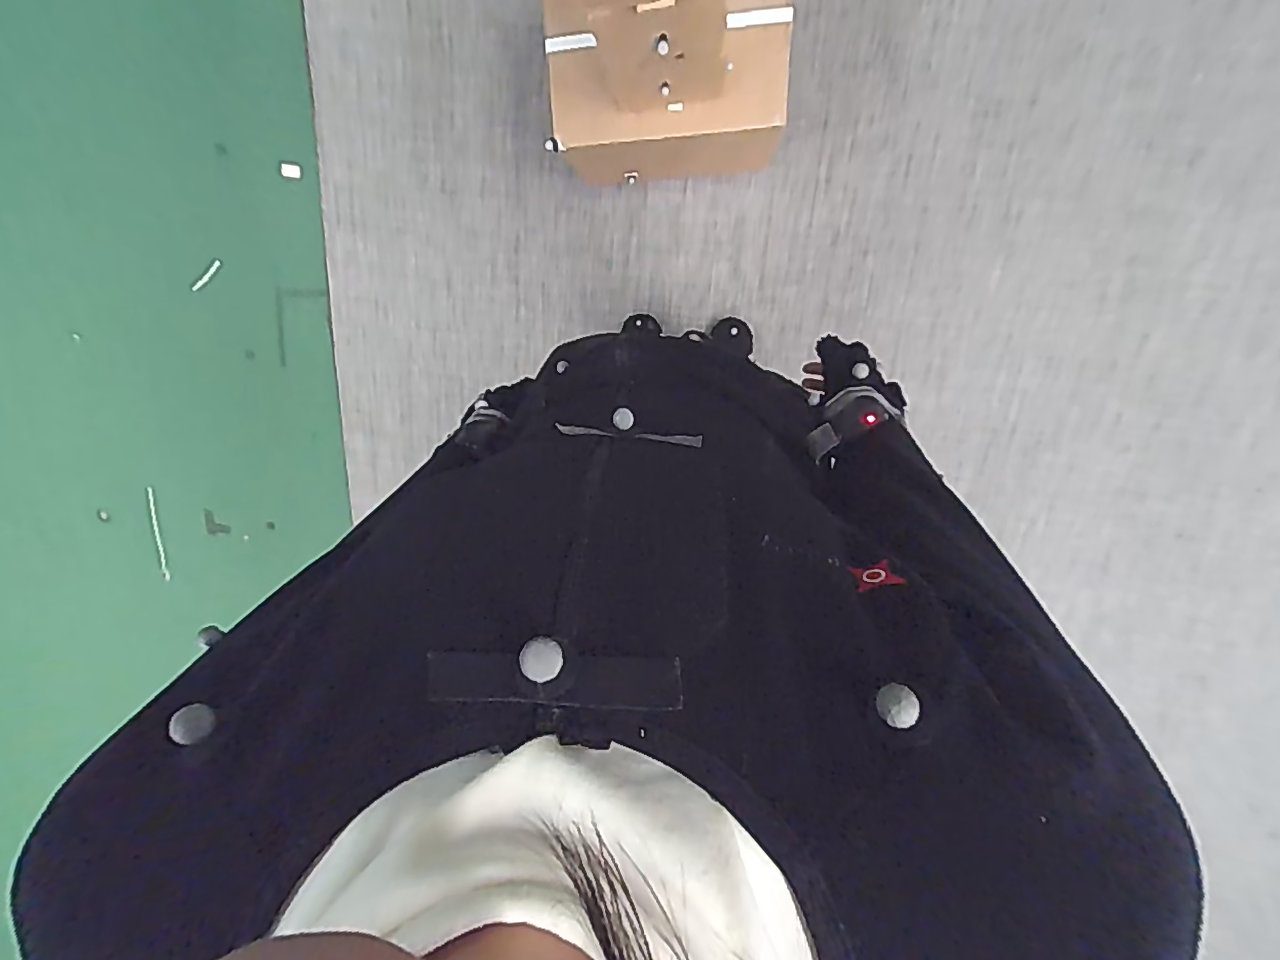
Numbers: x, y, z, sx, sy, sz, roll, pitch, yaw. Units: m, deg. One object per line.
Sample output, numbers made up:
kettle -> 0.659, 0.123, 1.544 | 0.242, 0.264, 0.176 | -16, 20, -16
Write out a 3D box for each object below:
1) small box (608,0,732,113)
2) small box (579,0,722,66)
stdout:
small box -> 0.039, -0.685, 0.814 | 0.179, 0.176, 0.168 | -6, 107, 8
small box -> 0.015, -0.641, 0.659 | 0.168, 0.176, 0.179 | -4, 108, 8
